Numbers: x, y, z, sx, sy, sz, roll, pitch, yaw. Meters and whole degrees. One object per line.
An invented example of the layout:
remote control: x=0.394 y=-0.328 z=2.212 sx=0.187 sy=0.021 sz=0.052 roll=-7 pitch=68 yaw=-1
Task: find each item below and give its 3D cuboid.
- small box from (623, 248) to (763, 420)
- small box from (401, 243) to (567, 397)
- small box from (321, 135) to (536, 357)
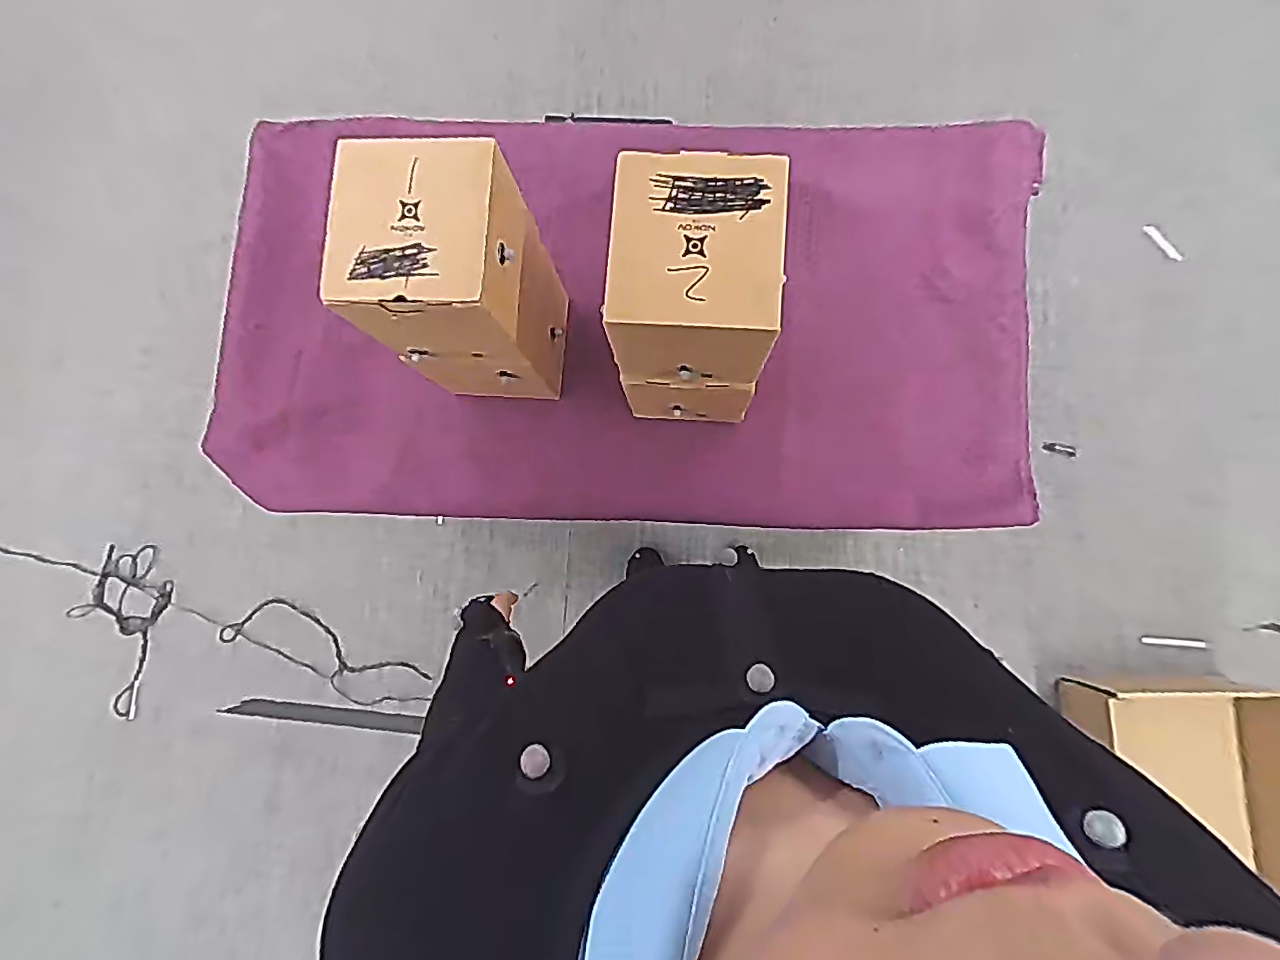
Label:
small box: x=0.071 y=-0.192 z=0.746 sx=0.168 sy=0.176 sz=0.179 roll=3 pitch=83 yaw=5
small box: x=-0.208 y=-0.221 z=0.771 sx=0.179 sy=0.176 sz=0.168 roll=4 pitch=83 yaw=5
small box: x=-0.221 y=-0.247 z=0.609 sx=0.168 sy=0.176 sz=0.179 roll=2 pitch=83 yaw=5
